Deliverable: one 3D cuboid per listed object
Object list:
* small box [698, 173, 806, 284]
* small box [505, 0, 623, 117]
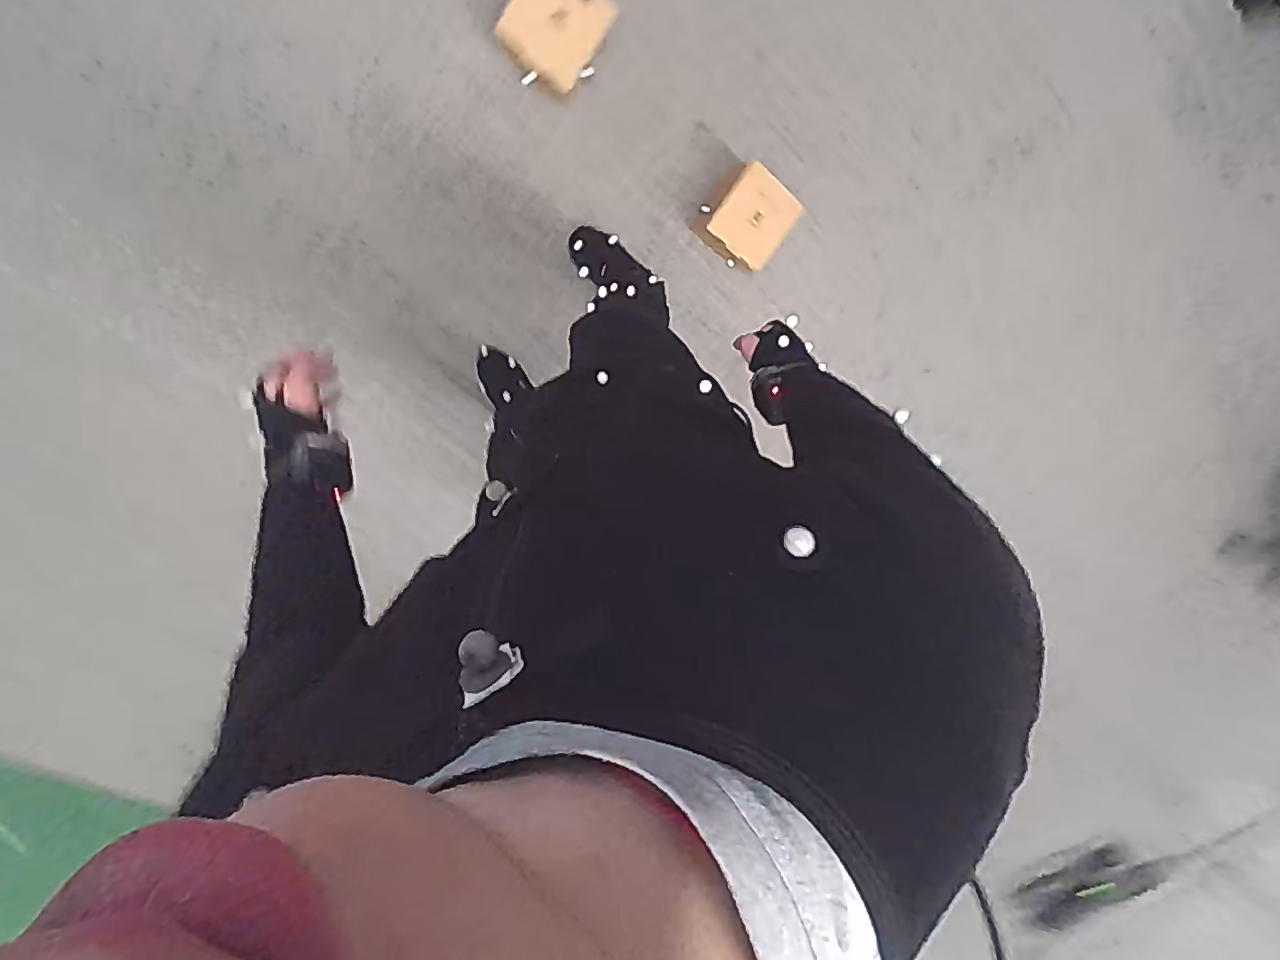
[{"bbox_3d":[0.258,-0.600,1.306,0.168,0.176,0.179,32,104,-22],"label":"small box"},{"bbox_3d":[-0.154,-0.892,1.110,0.168,0.176,0.179,34,105,-22],"label":"small box"}]
